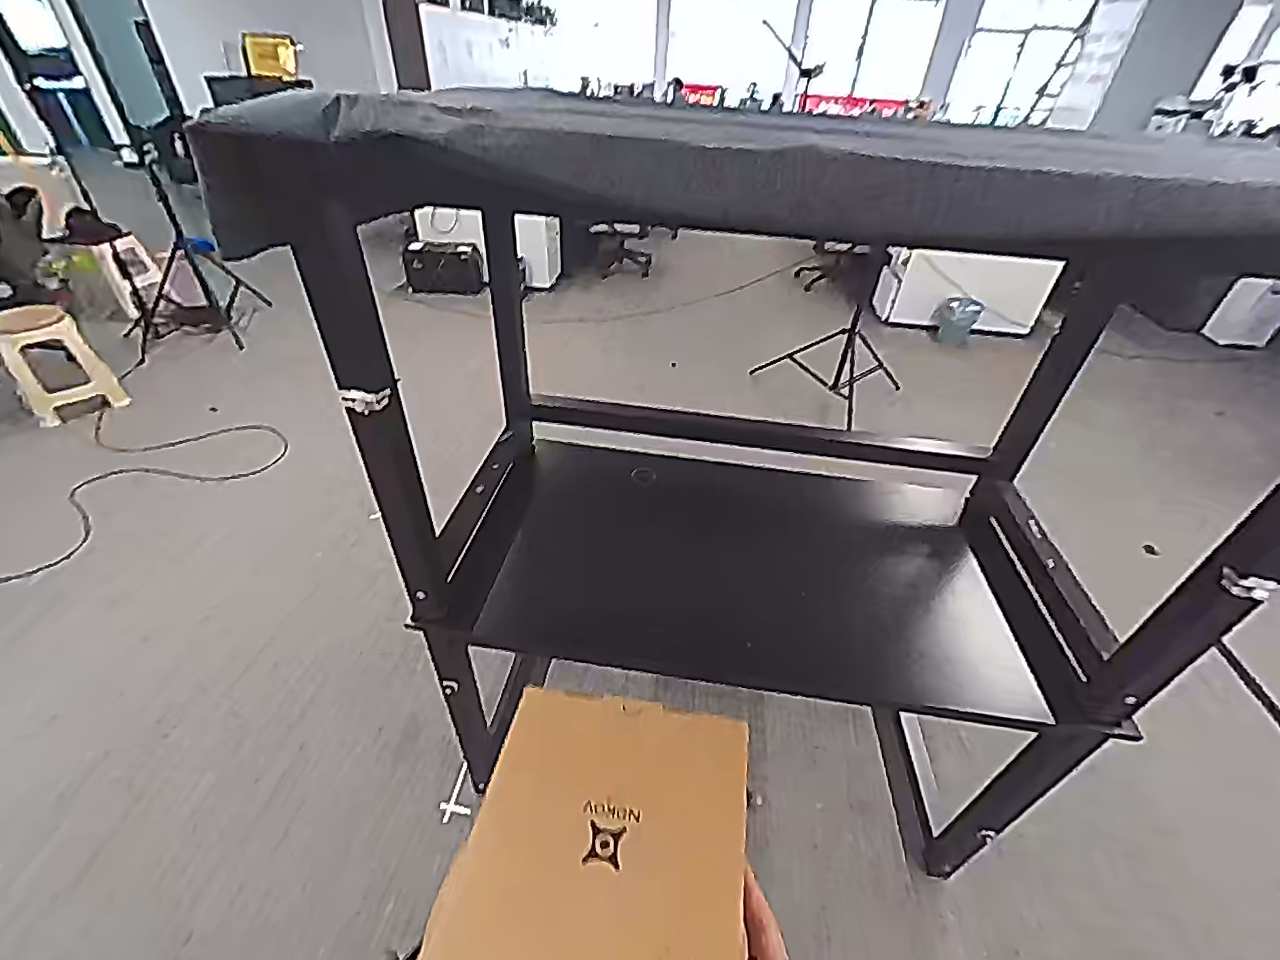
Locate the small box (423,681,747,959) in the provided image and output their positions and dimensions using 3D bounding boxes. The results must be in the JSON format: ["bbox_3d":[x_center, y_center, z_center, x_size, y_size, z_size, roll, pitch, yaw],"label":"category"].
[{"bbox_3d":[-0.018,0.272,0.372,0.168,0.176,0.179,5,38,8],"label":"small box"}]
